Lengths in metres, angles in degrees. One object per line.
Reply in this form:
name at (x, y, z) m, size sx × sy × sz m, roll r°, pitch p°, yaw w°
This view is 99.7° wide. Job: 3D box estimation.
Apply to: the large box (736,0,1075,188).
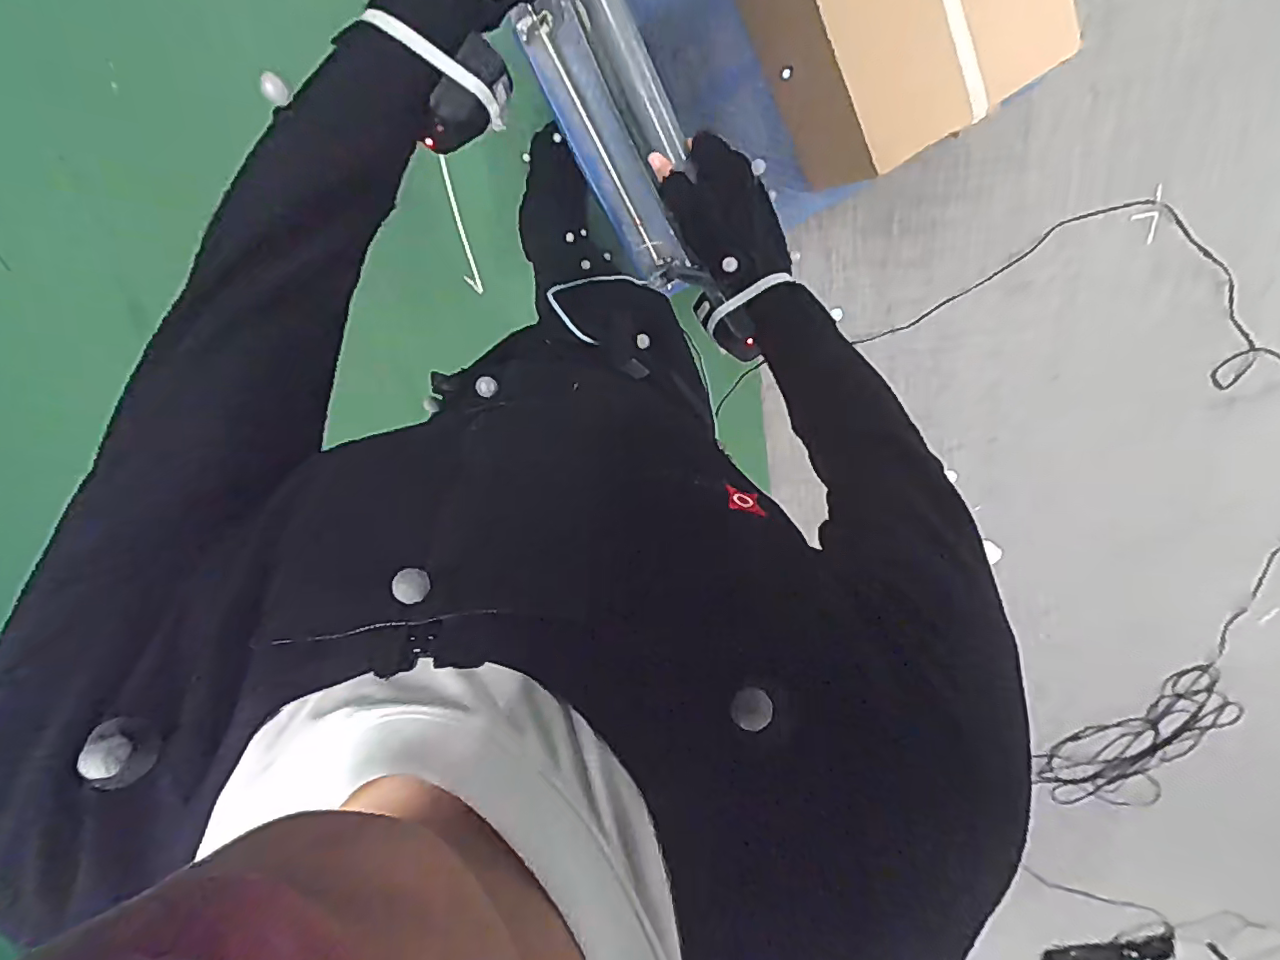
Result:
large box at (0.379, -0.749, 0.854) m, size 0.320 × 0.320 × 0.408 m, roll -29°, pitch 112°, yaw 10°
